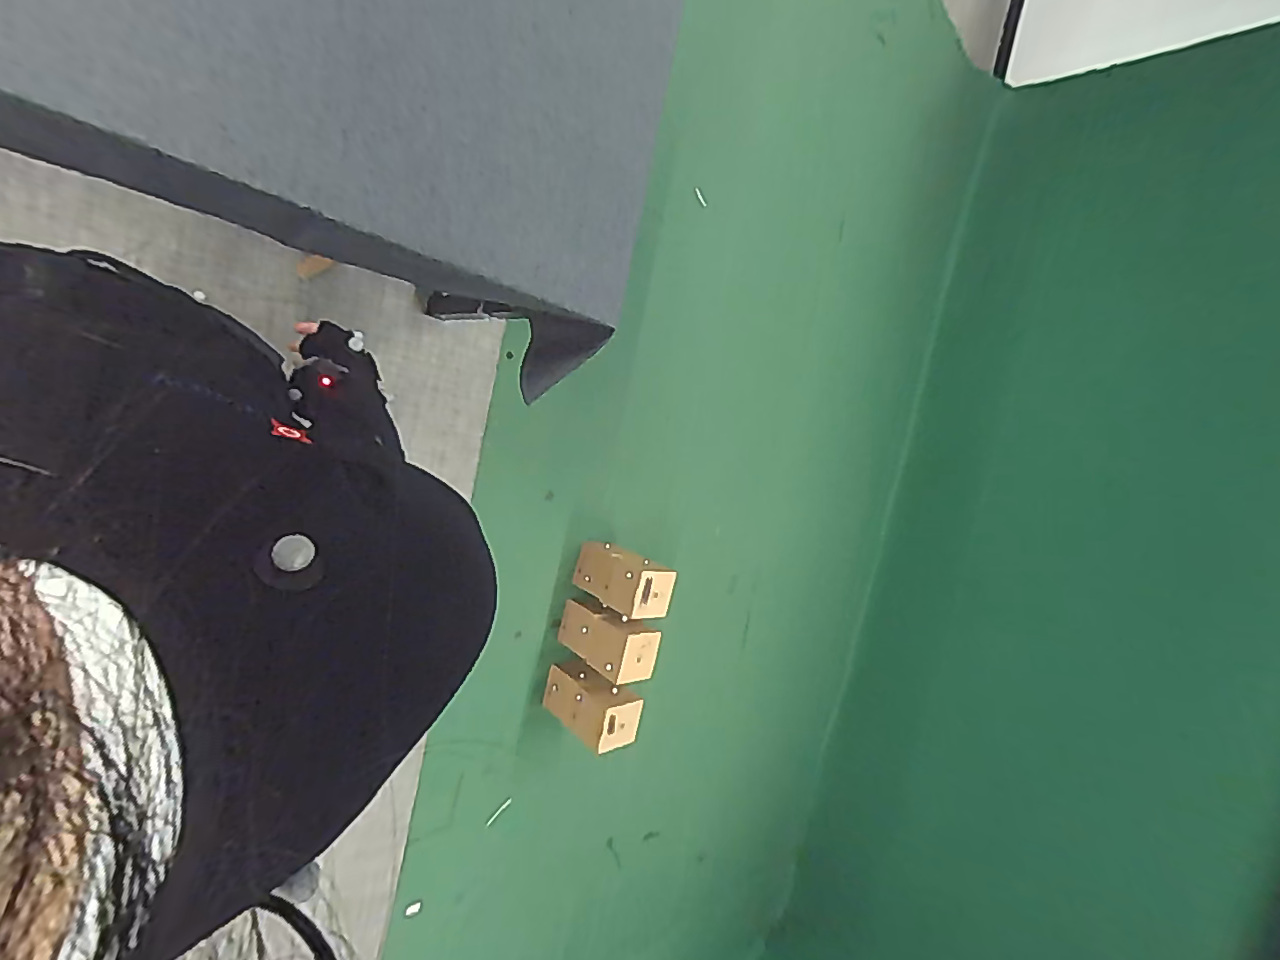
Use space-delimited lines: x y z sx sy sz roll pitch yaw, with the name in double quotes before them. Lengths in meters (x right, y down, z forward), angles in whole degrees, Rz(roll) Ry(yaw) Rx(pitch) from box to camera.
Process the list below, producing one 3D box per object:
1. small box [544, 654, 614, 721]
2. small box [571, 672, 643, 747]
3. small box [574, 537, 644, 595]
"small box" -0.229 0.766 2.022 0.179 0.176 0.168 8 97 -44
"small box" -0.120 0.802 1.905 0.179 0.176 0.168 7 98 -44
"small box" -0.118 0.315 1.993 0.179 0.176 0.168 14 92 -44
